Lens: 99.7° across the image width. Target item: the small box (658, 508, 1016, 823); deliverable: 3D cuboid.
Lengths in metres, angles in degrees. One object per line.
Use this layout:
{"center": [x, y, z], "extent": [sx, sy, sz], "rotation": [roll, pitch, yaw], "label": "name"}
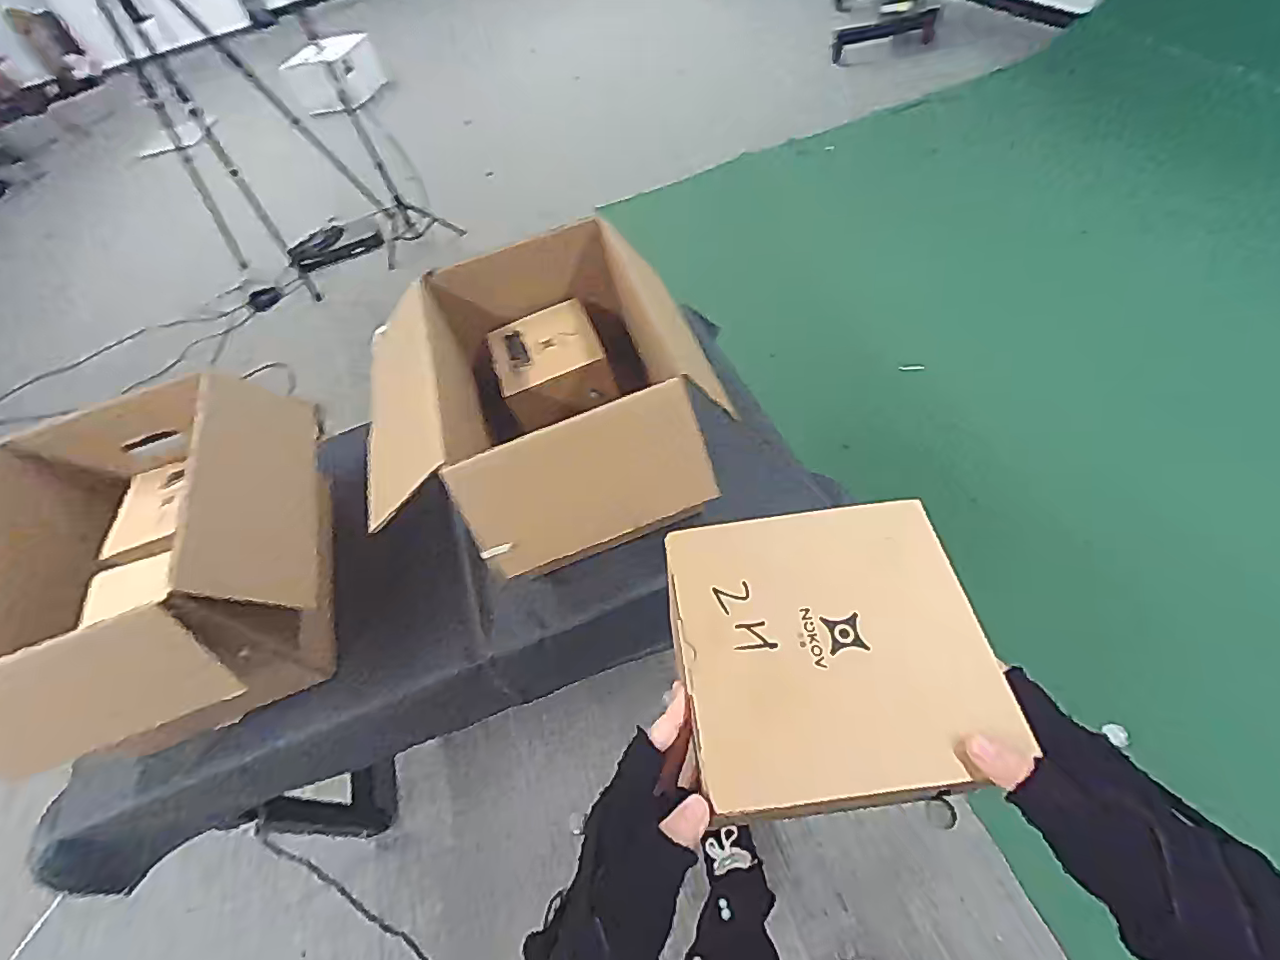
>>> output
{"center": [0.109, 0.140, 0.391], "extent": [0.179, 0.176, 0.168], "rotation": [-7, 54, -1], "label": "small box"}
